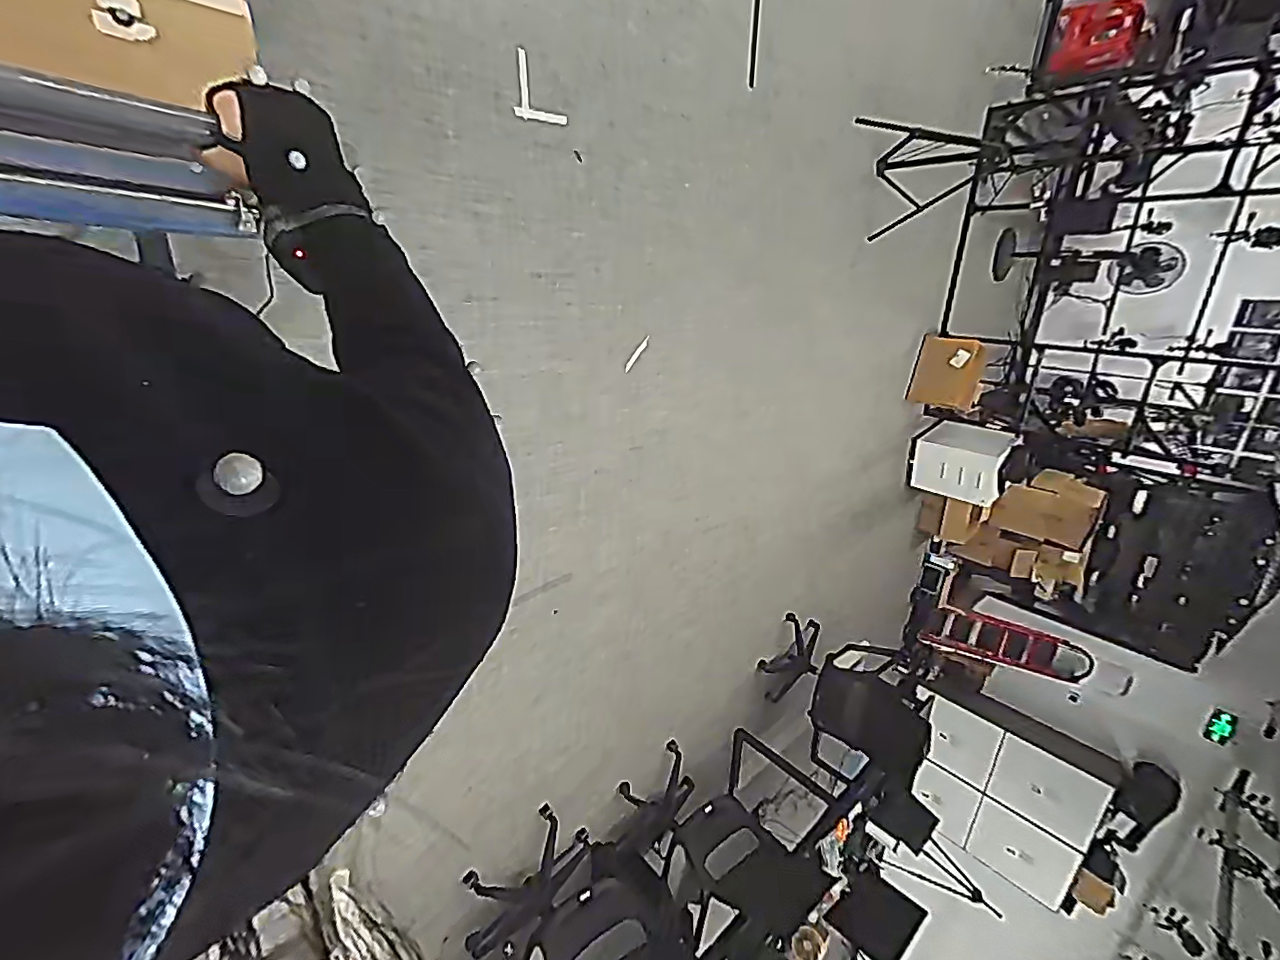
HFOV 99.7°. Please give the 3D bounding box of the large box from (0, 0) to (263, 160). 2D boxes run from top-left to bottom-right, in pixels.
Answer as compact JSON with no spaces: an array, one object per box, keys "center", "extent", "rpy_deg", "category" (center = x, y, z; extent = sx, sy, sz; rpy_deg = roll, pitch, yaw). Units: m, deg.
[{"center":[-0.795,-0.641,0.708],"extent":[0.408,0.320,0.320],"rpy_deg":[-17,119,-41],"category":"large box"}]
